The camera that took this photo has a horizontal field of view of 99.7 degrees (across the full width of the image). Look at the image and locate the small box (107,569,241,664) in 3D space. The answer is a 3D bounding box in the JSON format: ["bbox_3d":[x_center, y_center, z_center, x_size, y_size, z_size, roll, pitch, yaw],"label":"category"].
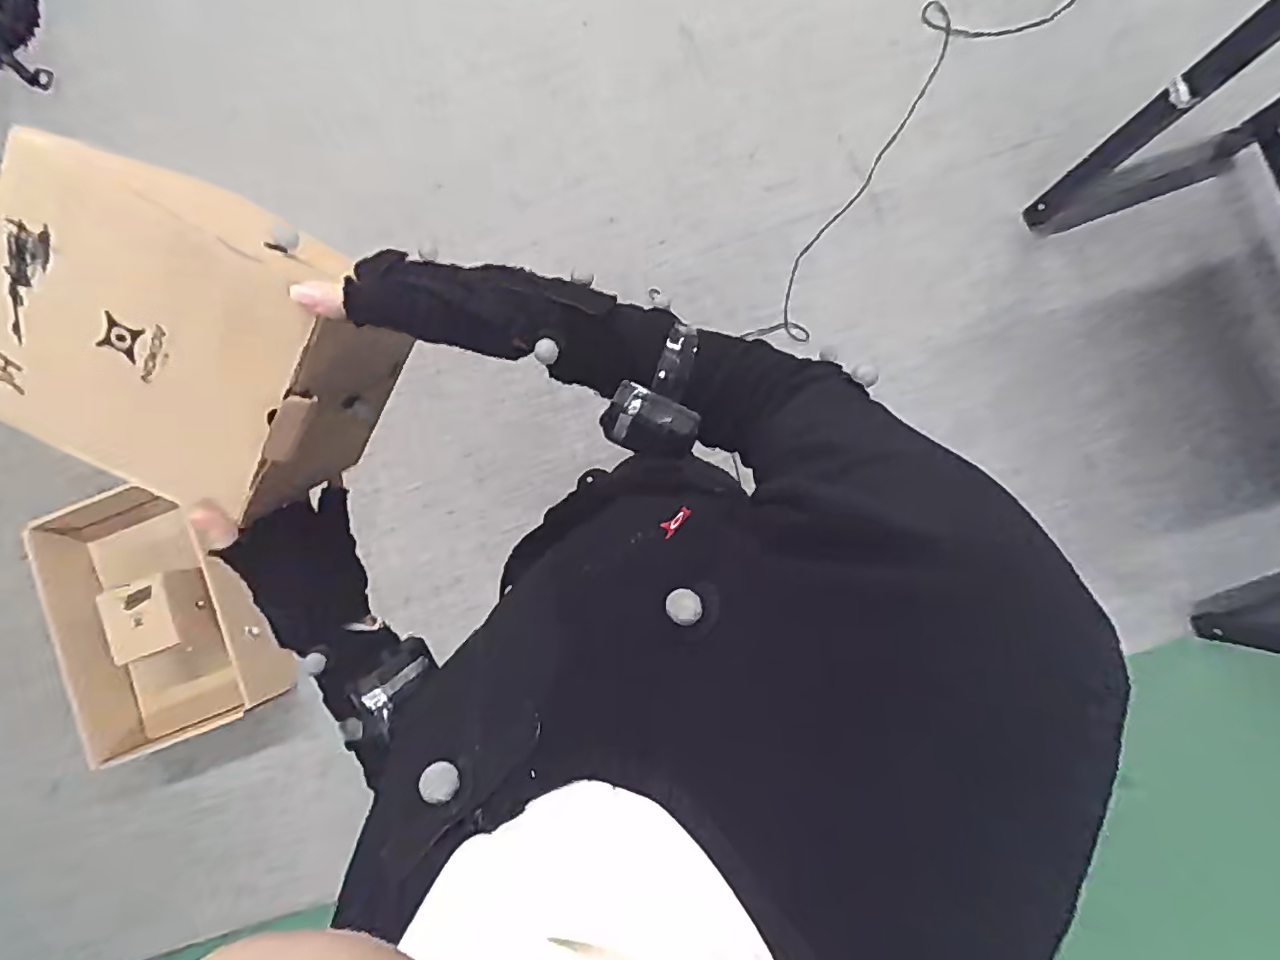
[{"bbox_3d":[-1.146,0.328,1.343,0.168,0.176,0.179,-20,87,2],"label":"small box"}]

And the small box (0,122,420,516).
[{"bbox_3d":[-0.291,-0.107,0.392,0.179,0.176,0.168,29,104,-10],"label":"small box"}]
